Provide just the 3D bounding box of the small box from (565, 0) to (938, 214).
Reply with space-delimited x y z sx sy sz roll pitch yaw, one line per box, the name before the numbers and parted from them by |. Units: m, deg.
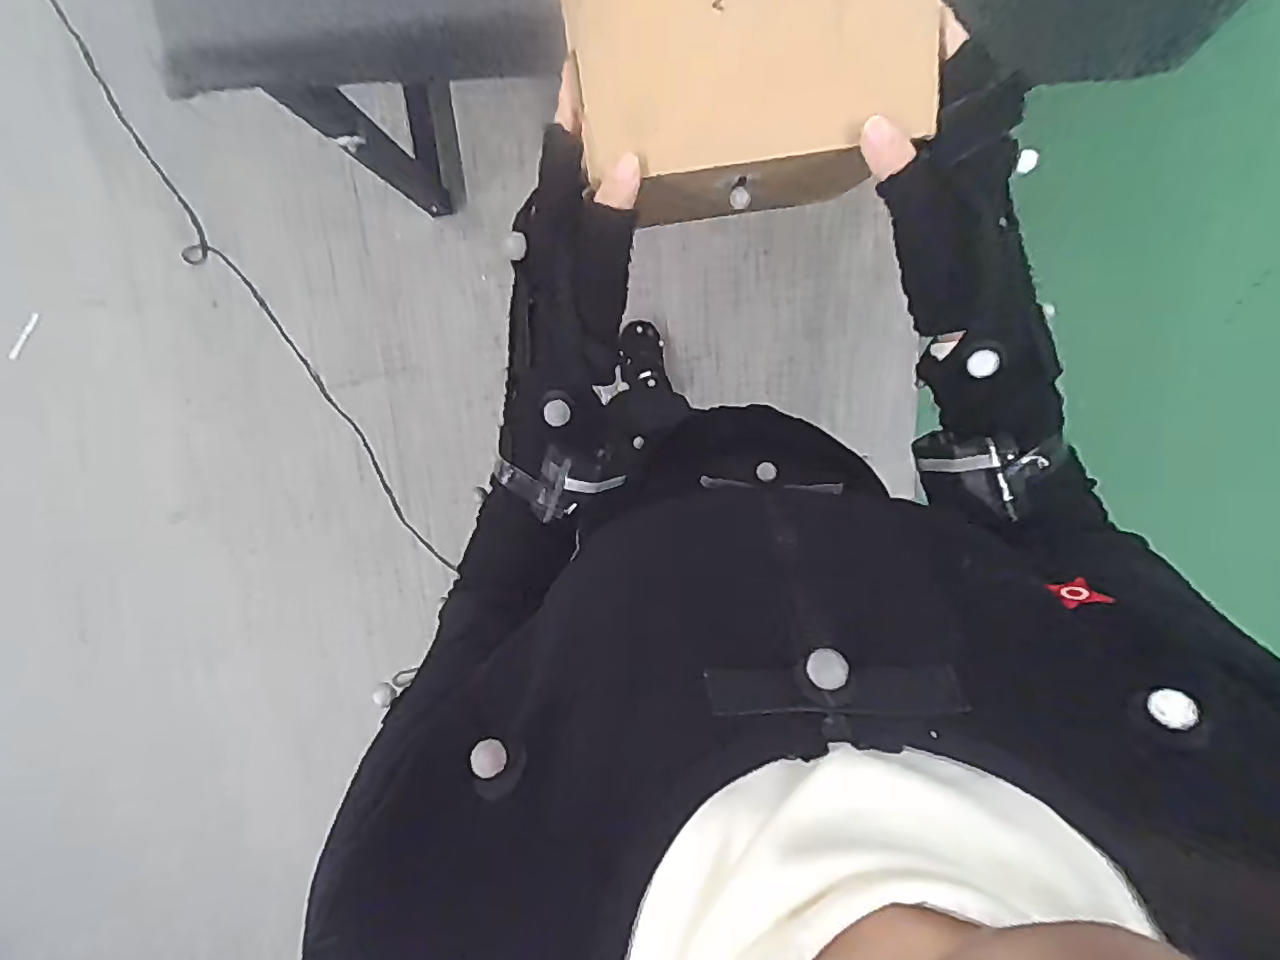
small box | 0.051 -0.269 0.324 0.179 0.176 0.168 -7 109 3
